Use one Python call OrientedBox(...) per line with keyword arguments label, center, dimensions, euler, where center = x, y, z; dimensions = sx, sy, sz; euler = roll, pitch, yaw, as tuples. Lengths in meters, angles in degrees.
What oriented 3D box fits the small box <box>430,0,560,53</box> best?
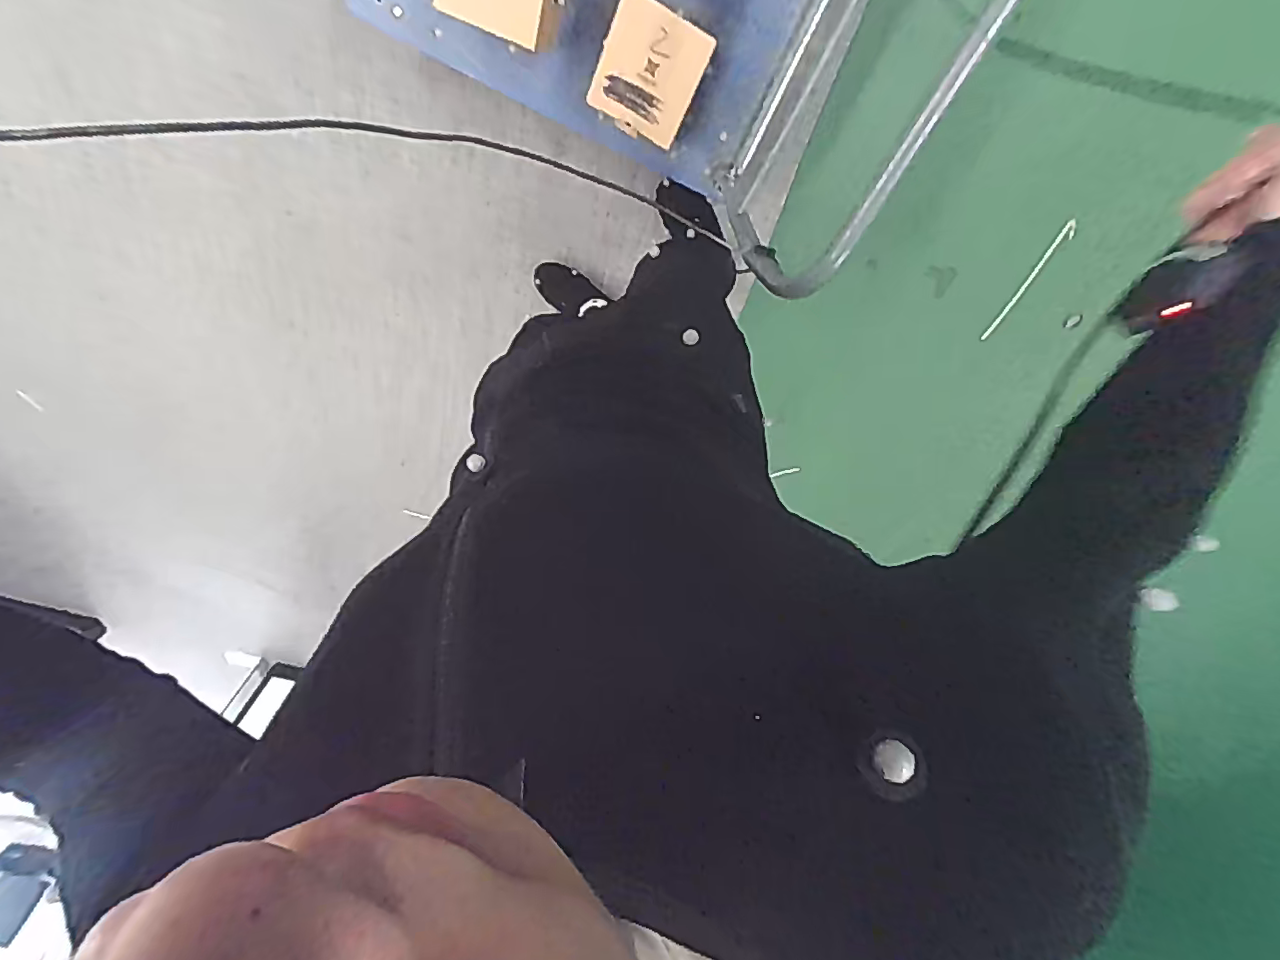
OrientedBox(label="small box", center=(-0.226, -0.850, 0.904), dimensions=(0.179, 0.176, 0.168), euler=(19, 128, -9))
